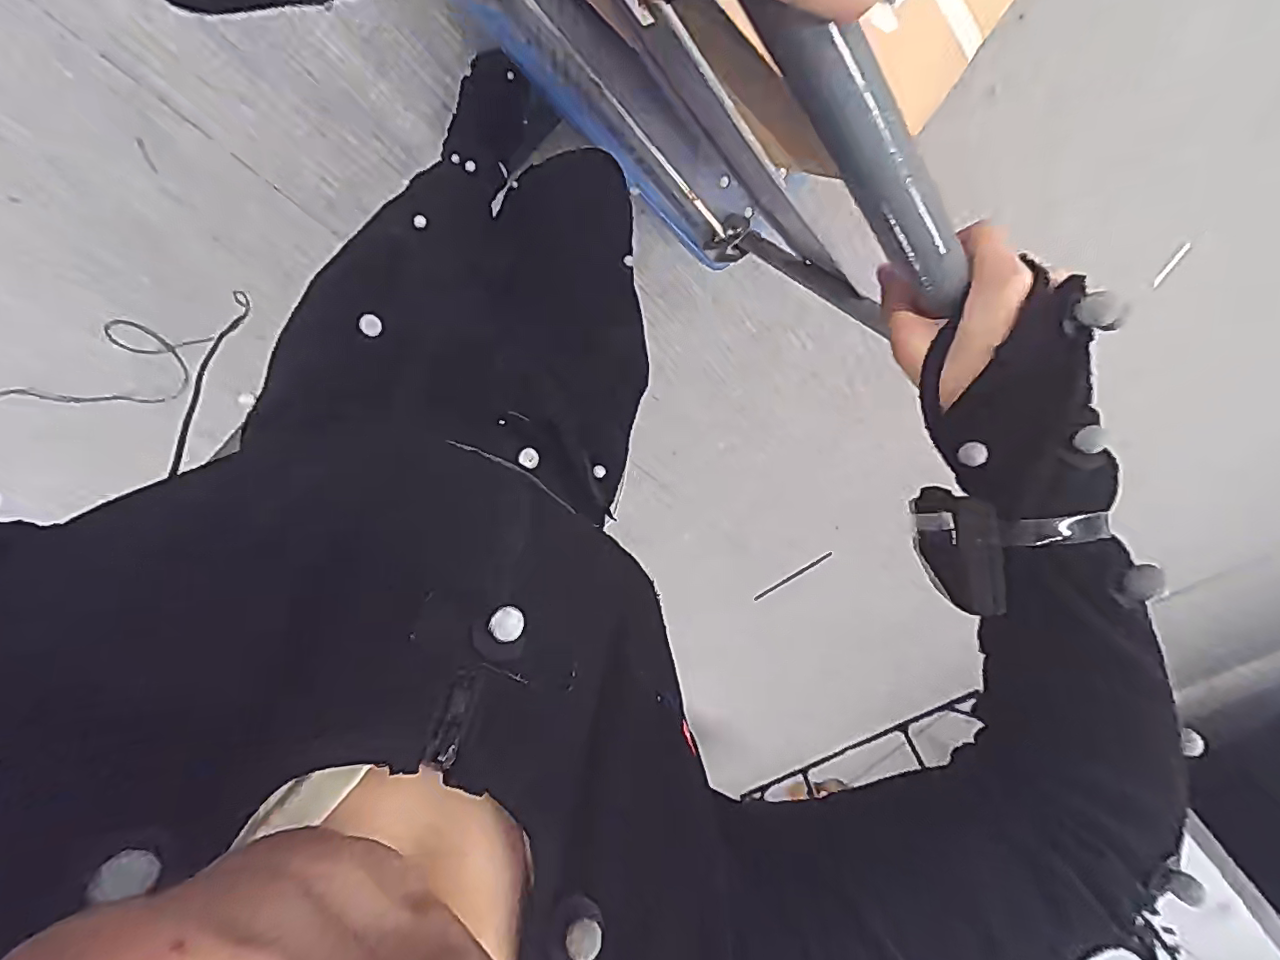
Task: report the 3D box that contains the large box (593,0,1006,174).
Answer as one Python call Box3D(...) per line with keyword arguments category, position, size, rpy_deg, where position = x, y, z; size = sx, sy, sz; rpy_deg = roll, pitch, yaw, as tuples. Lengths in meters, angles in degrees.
Box3D(category="large box", position=(0.157, -0.618, 0.593), size=(0.408, 0.320, 0.320), rpy_deg=(22, 114, -35))
